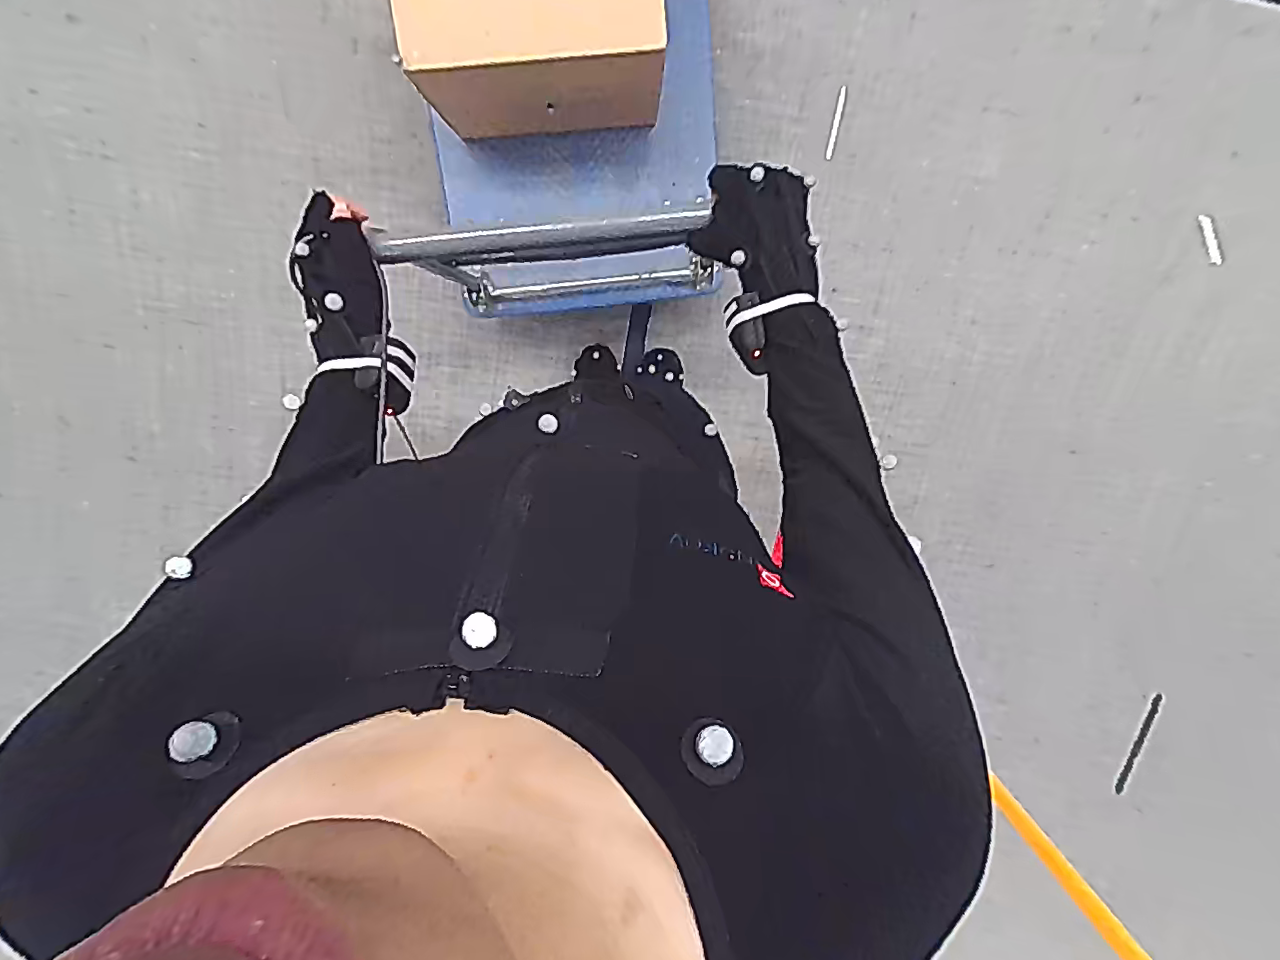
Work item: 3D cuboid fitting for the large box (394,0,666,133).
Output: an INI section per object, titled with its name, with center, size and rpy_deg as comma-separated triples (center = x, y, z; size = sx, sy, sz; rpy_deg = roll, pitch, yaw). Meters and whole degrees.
[large box]
center = -0.173, -0.827, 0.922
size = 0.408, 0.320, 0.320
rpy_deg = -5, 105, 0

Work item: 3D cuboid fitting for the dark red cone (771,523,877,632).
[dark red cone]
center = 0.492, 0.268, 1.376
size = 0.201, 0.394, 0.202
rpy_deg = 8, 105, -6
